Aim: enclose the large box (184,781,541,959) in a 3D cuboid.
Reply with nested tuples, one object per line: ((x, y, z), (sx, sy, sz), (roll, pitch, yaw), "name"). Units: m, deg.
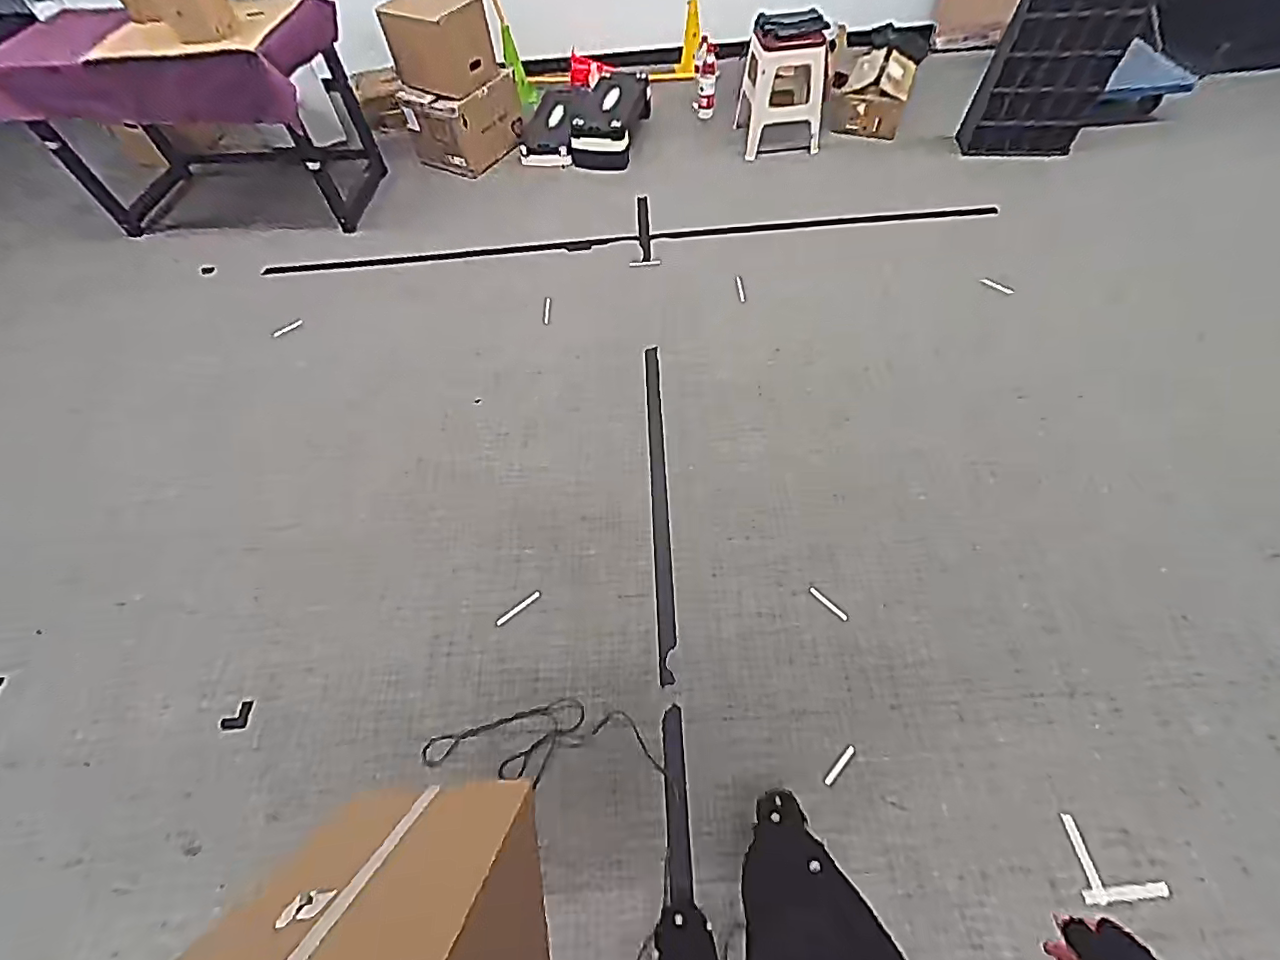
((-0.333, 0.663, 0.709), (0.320, 0.408, 0.320), (-7, 90, 3), "large box")
